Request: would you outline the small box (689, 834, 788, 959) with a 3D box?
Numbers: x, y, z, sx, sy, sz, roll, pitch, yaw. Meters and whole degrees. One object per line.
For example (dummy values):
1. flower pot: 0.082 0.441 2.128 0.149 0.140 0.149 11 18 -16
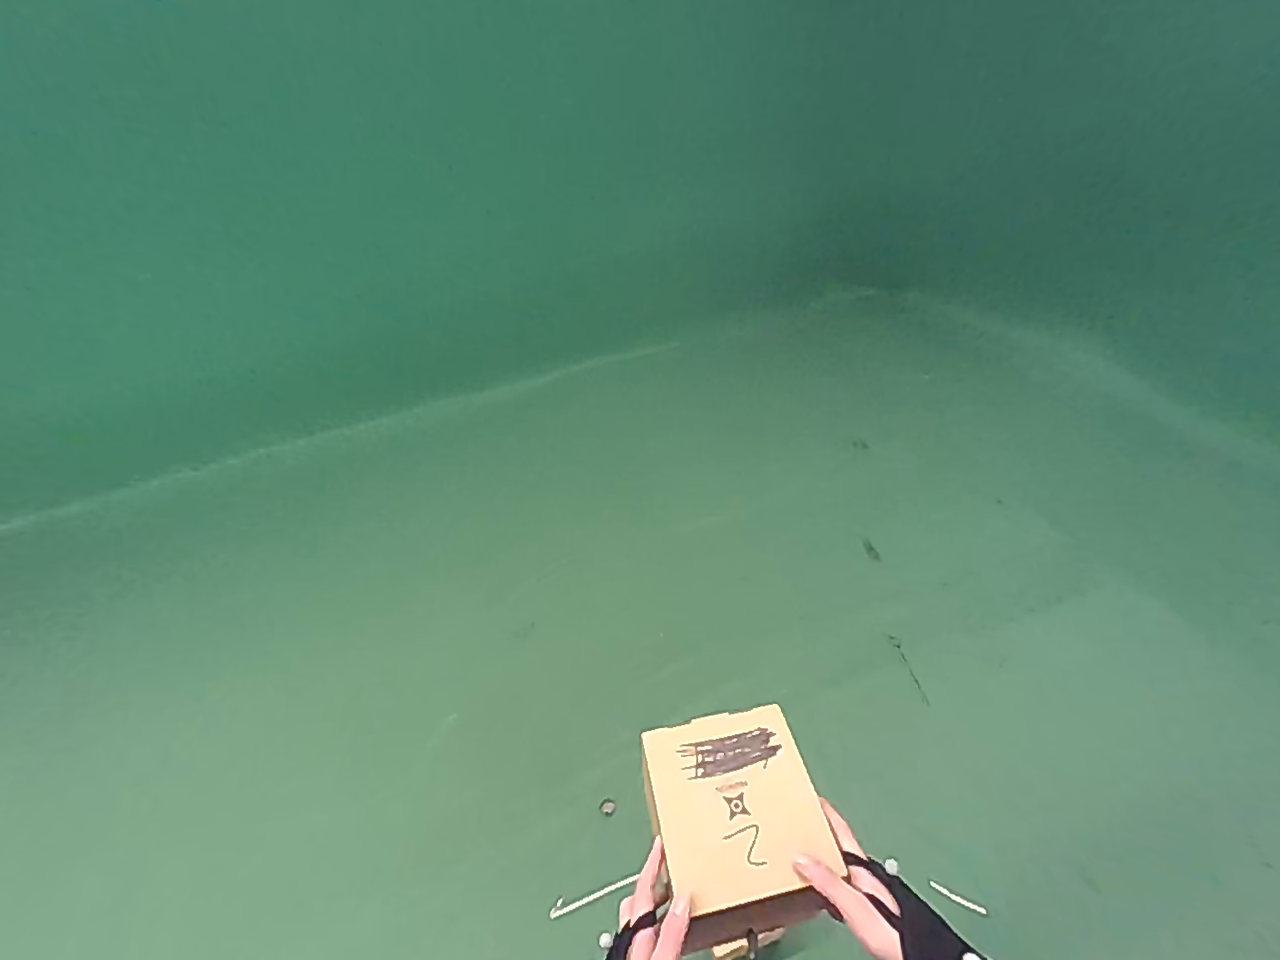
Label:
1. small box: 0.218 0.959 1.241 0.168 0.176 0.179 -16 44 -9
